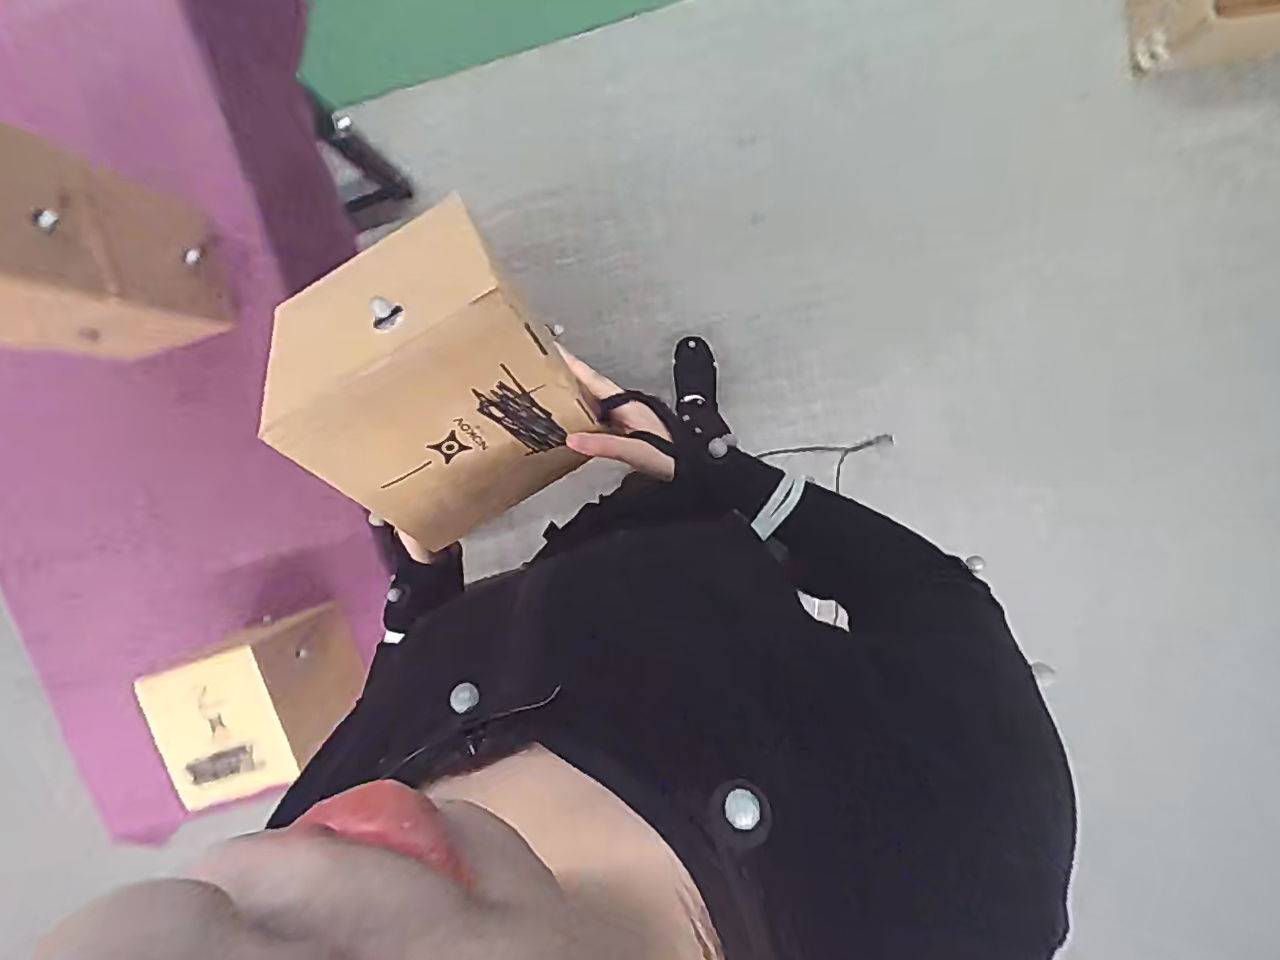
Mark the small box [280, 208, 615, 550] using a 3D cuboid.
[{"bbox_3d":[-0.149,-0.081,0.436,0.179,0.168,0.176,-30,50,4],"label":"small box"}]

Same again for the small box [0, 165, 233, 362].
[{"bbox_3d":[-0.676,-0.255,0.683,0.179,0.176,0.168,-14,96,5],"label":"small box"}]

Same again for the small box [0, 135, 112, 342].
[{"bbox_3d":[-0.688,-0.239,0.522,0.179,0.176,0.168,-15,95,5],"label":"small box"}]
